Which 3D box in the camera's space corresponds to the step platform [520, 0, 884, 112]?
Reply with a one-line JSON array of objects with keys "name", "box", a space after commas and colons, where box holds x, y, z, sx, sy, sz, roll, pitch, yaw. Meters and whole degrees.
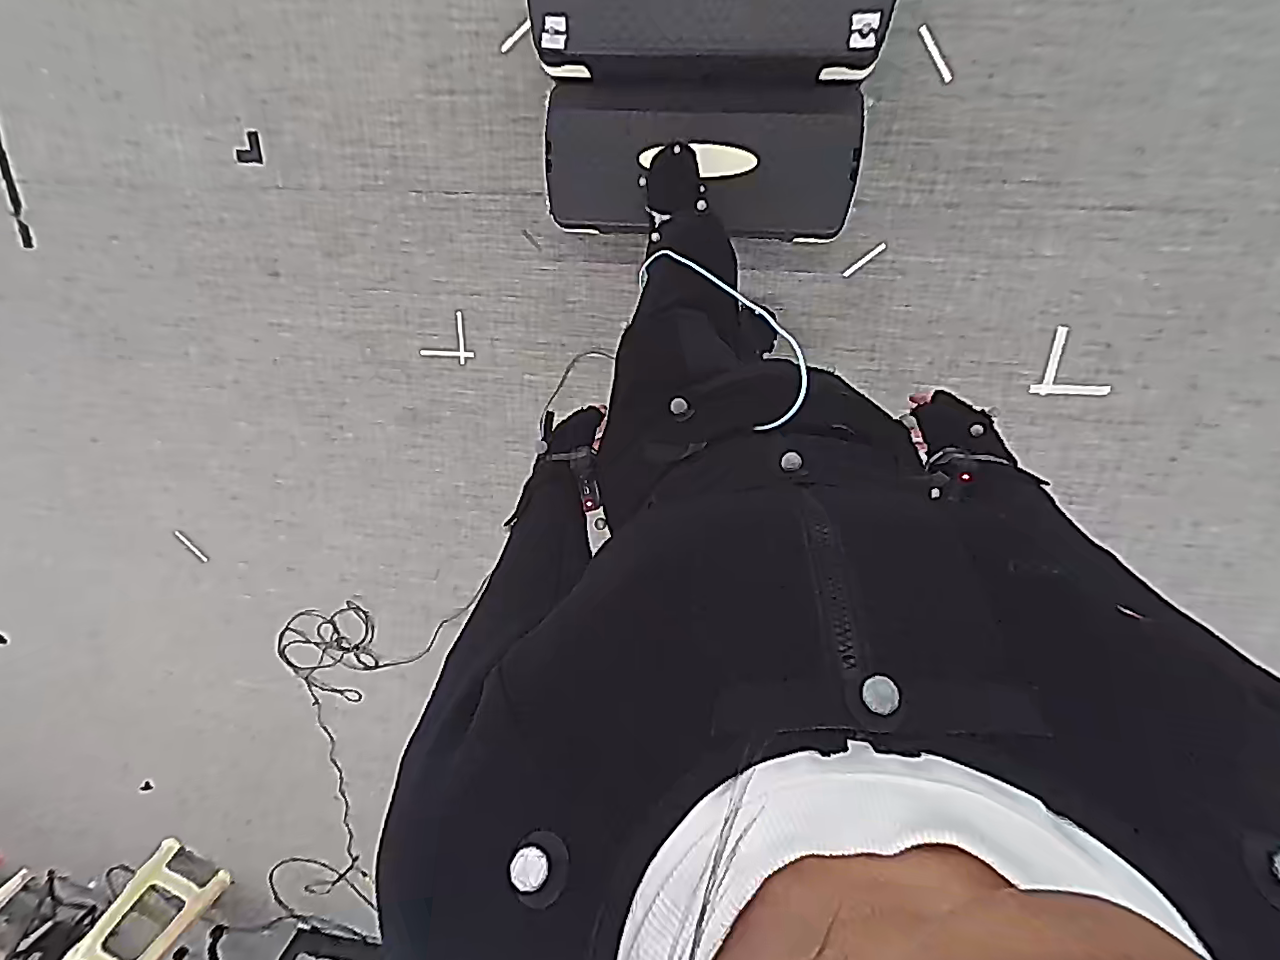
[{"name": "step platform", "box": [0.111, -0.910, 1.054, 0.684, 0.204, 0.286, 4, 112, 6]}]
